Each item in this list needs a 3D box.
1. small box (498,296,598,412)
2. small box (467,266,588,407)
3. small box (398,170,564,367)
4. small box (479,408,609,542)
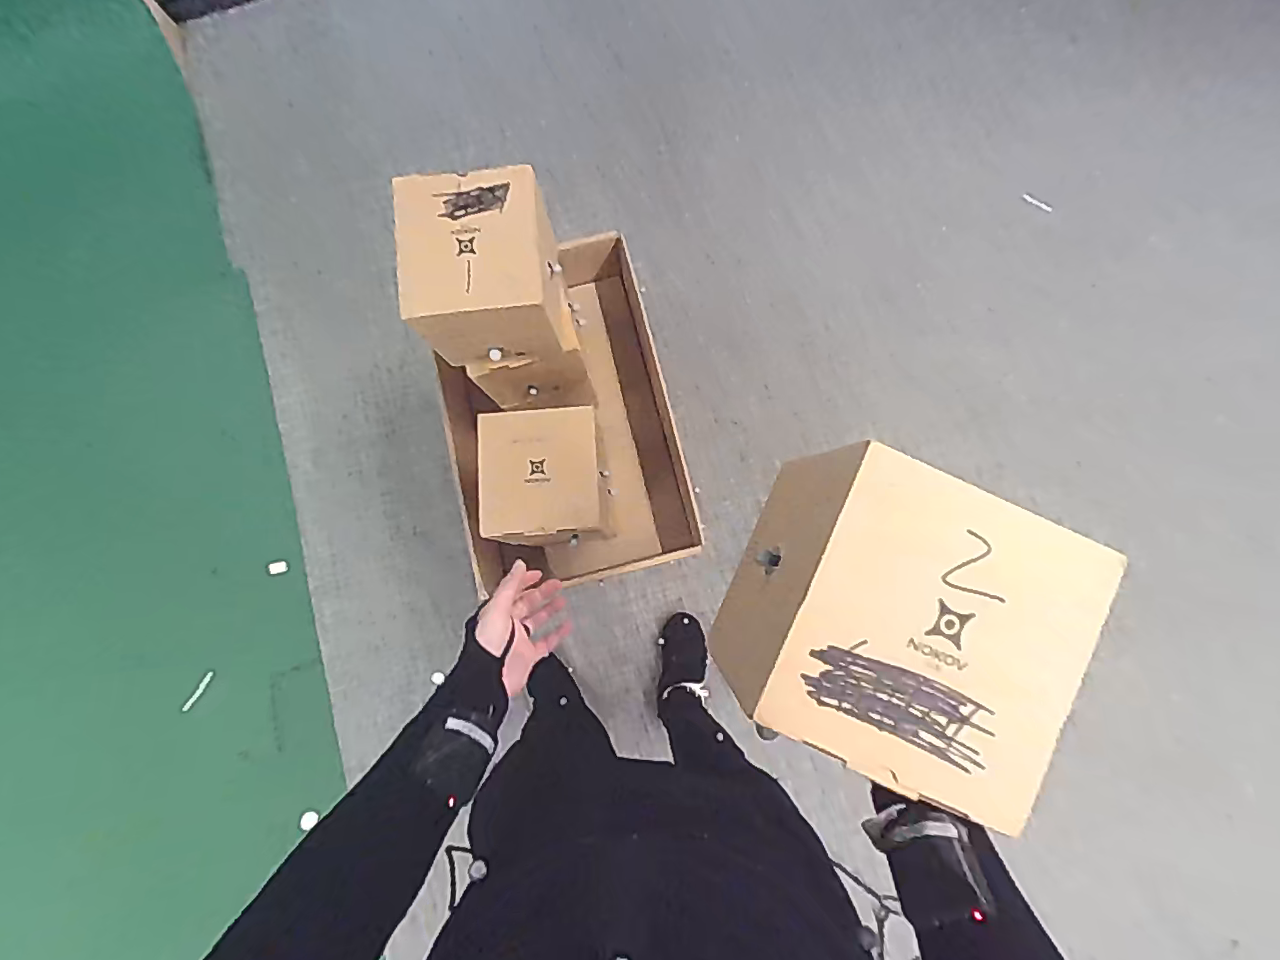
[{"bbox_3d":[-0.183,-0.217,1.030,0.168,0.176,0.179,-15,82,0],"label":"small box"},{"bbox_3d":[-0.188,-0.238,0.870,0.168,0.176,0.179,-15,82,-1],"label":"small box"},{"bbox_3d":[-0.198,-0.265,0.708,0.168,0.176,0.179,-6,83,1],"label":"small box"},{"bbox_3d":[-0.138,0.002,0.824,0.168,0.176,0.179,-3,79,1],"label":"small box"}]
